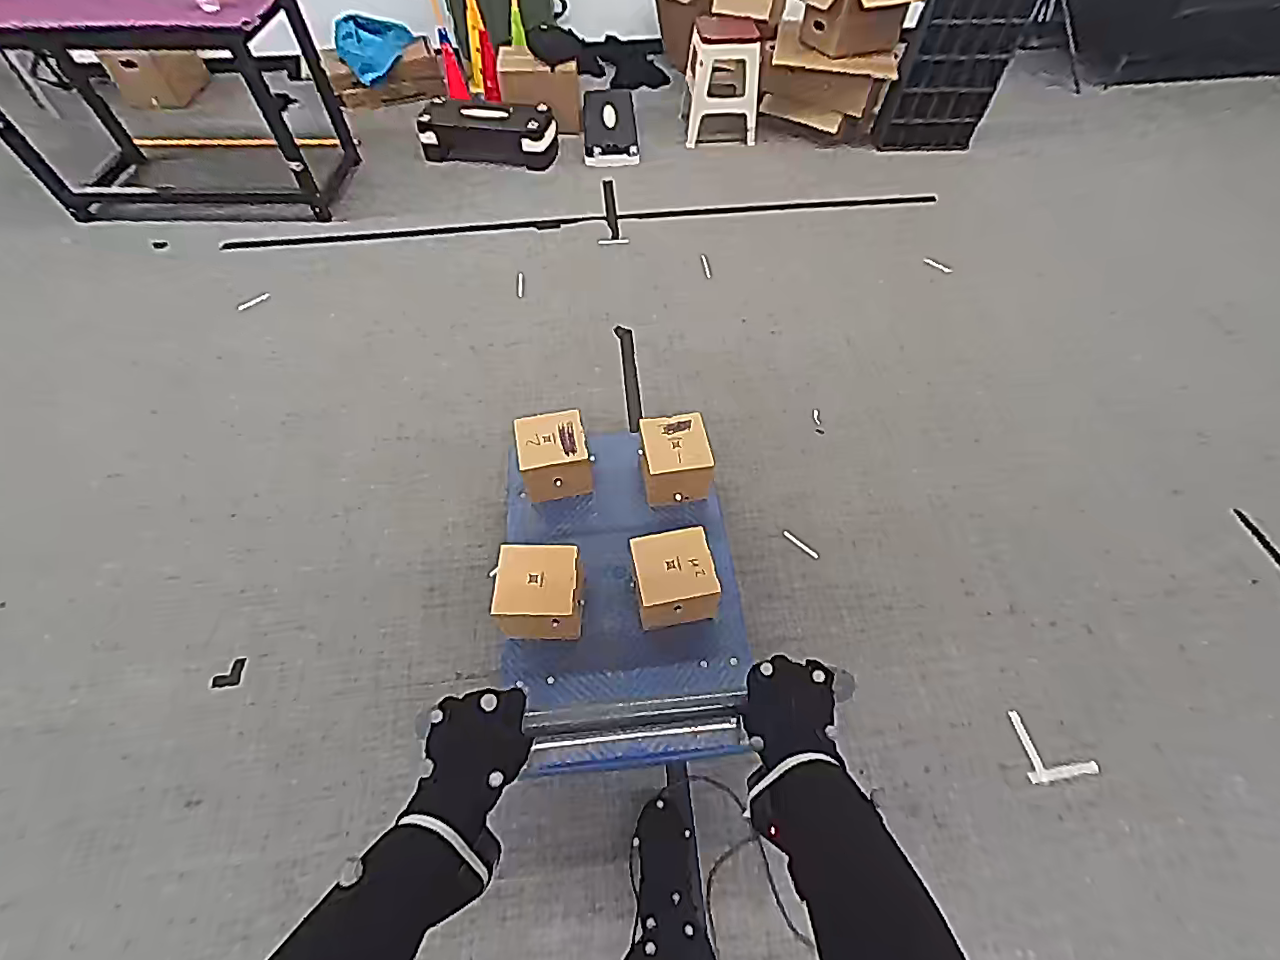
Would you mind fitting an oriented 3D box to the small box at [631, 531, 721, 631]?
[{"bbox_3d":[0.080,0.243,1.272,0.179,0.176,0.168,-9,58,-6],"label":"small box"}]

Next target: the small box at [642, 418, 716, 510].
[{"bbox_3d":[0.097,-0.042,1.455,0.168,0.176,0.179,-8,59,-5],"label":"small box"}]

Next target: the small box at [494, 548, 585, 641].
[{"bbox_3d":[-0.225,0.269,1.254,0.179,0.176,0.168,1,57,-1],"label":"small box"}]
